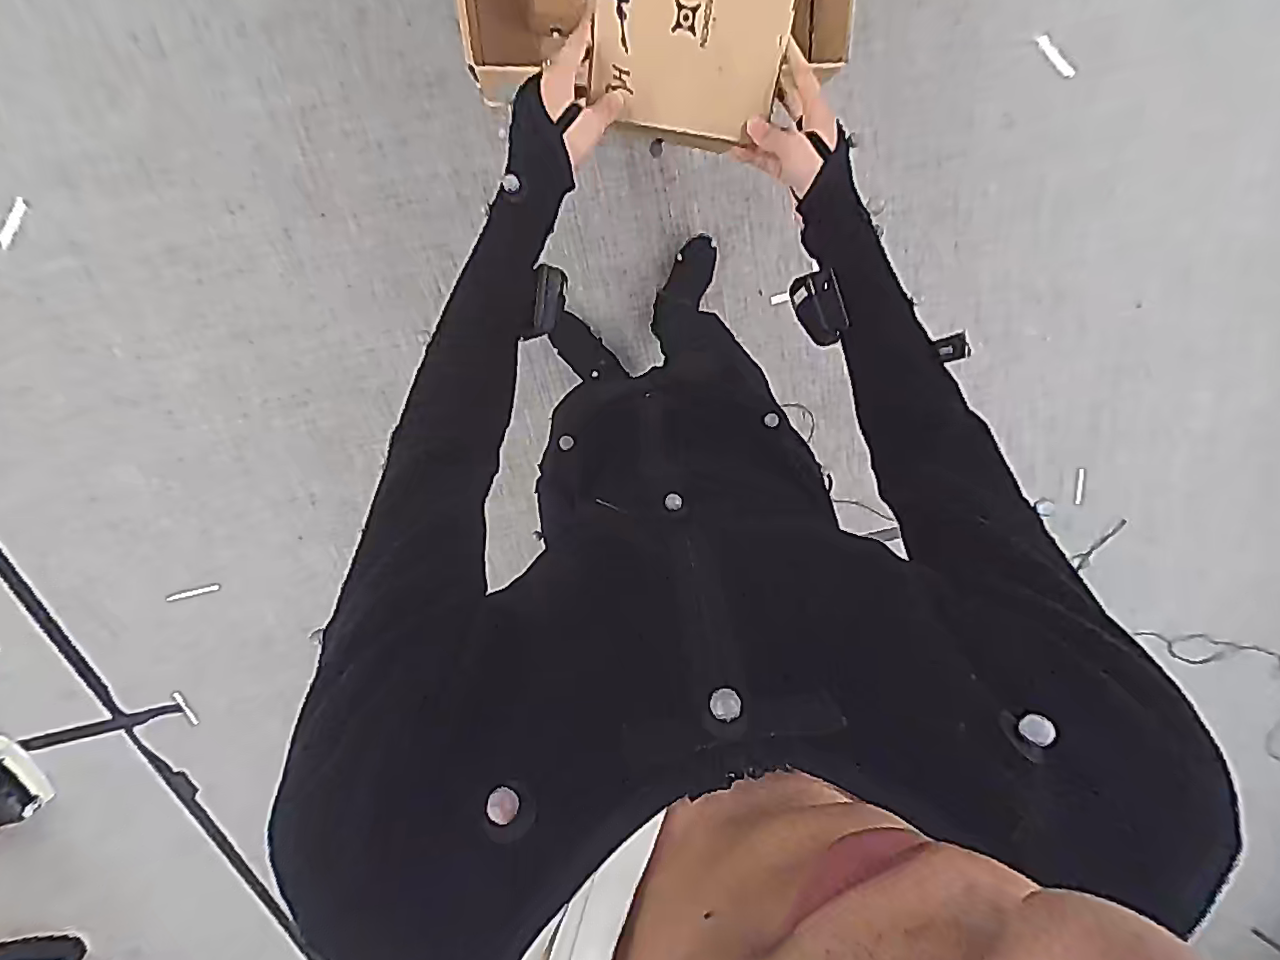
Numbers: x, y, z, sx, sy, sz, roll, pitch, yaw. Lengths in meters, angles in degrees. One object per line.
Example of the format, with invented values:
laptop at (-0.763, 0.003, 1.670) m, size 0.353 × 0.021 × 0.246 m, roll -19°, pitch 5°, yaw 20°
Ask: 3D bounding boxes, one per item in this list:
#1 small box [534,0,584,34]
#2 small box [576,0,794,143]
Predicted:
small box at (-0.083, -0.817, 0.831) m, size 0.168 × 0.176 × 0.179 m, roll -3°, pitch 109°, yaw -8°
small box at (0.034, -0.444, 0.536) m, size 0.179 × 0.176 × 0.168 m, roll 3°, pitch 119°, yaw -11°
